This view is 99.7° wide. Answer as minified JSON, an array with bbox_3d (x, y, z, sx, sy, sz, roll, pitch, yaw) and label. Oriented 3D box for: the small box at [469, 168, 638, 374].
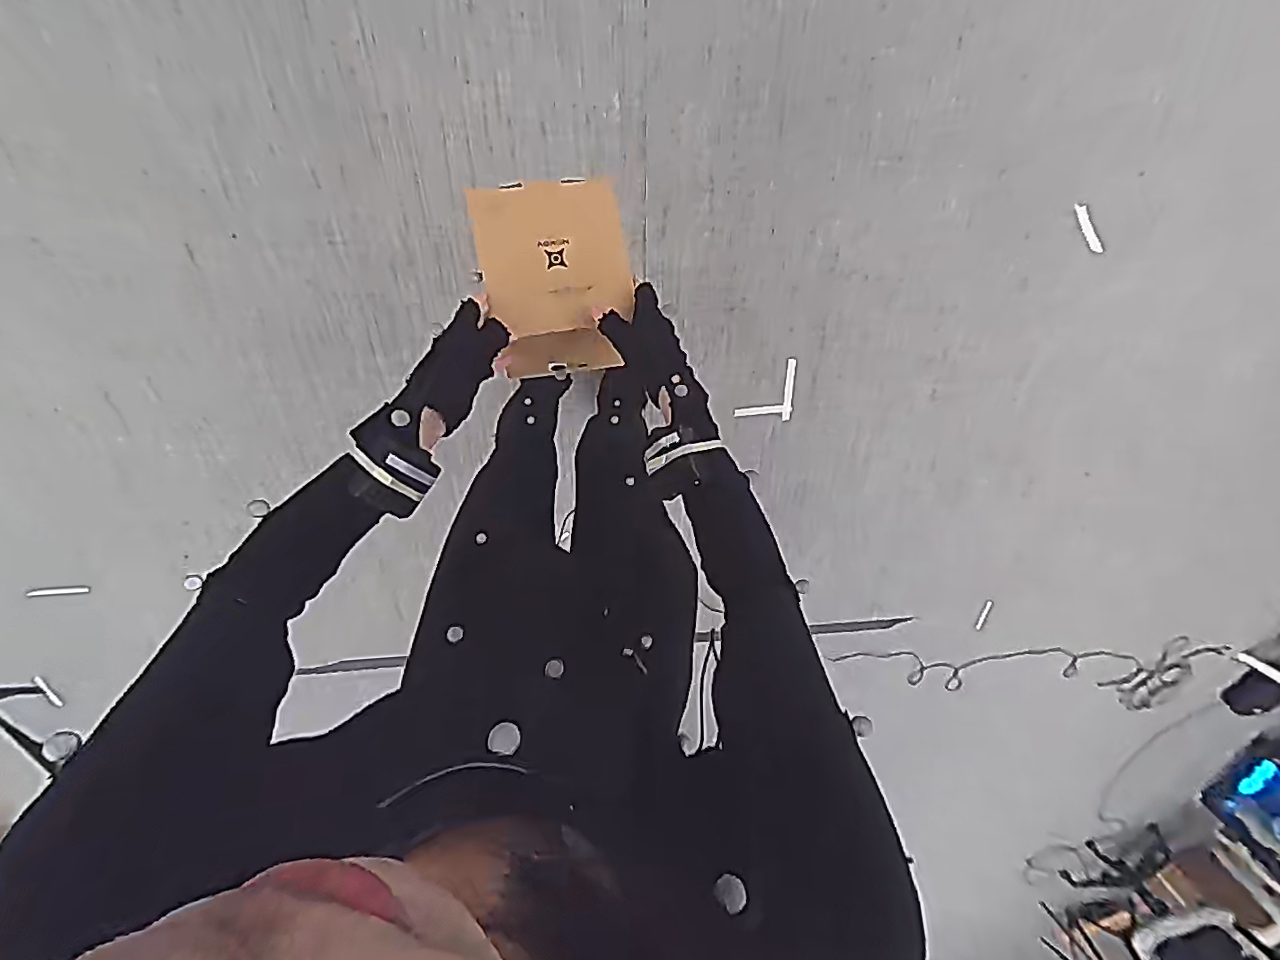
[{"bbox_3d":[-0.106,-0.250,0.675,0.168,0.176,0.179,-10,85,-8],"label":"small box"}]
